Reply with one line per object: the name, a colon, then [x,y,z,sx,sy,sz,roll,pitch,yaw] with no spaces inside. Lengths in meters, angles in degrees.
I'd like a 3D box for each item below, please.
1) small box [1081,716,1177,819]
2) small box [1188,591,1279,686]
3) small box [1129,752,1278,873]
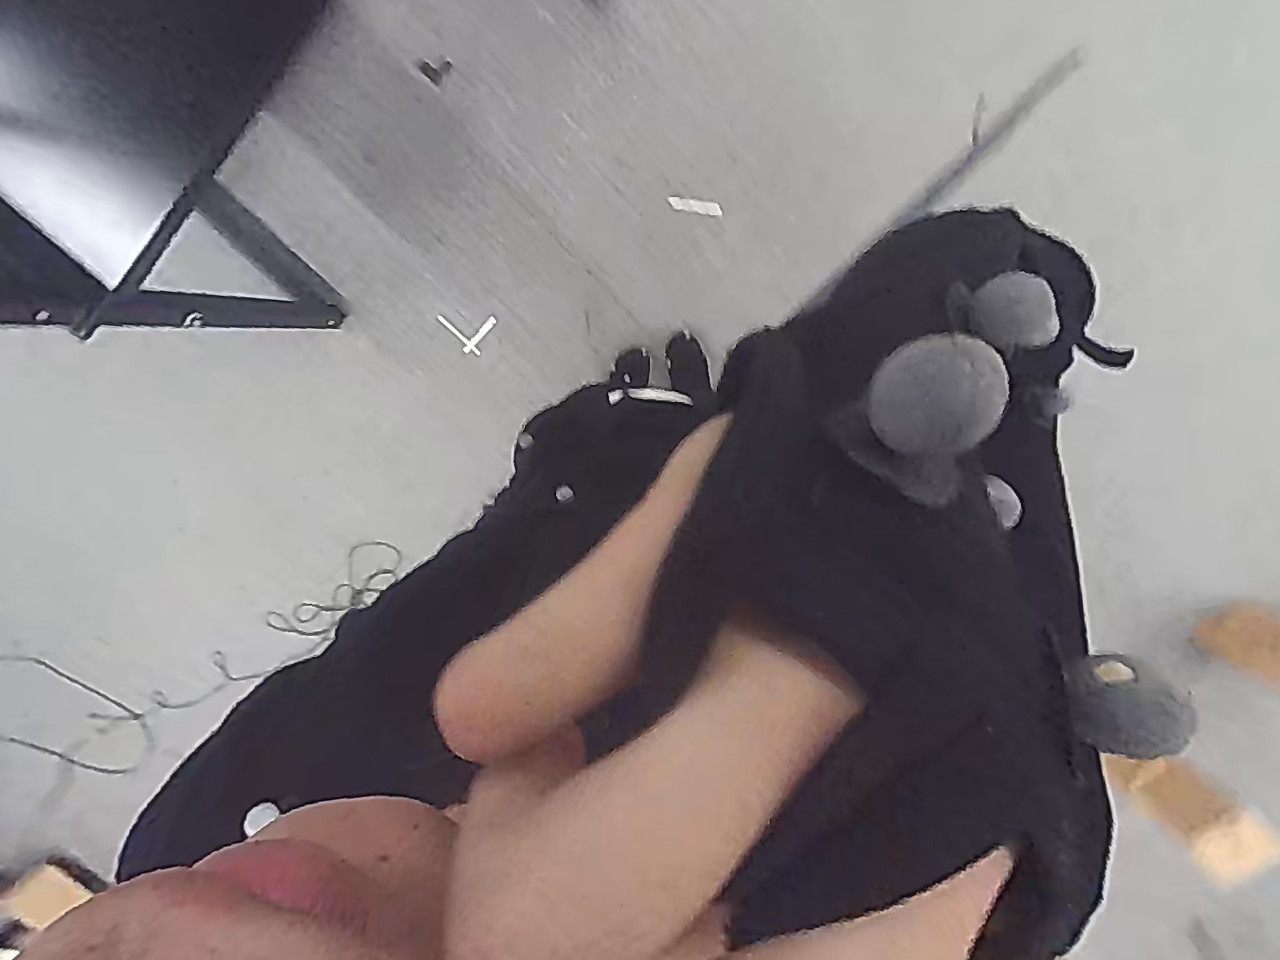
small box: [1.441,0.817,1.560,0.168,0.176,0.179,-43,100,13]
small box: [1.832,0.467,1.618,0.179,0.176,0.168,42,102,-9]
small box: [1.445,0.851,1.398,0.168,0.176,0.179,-43,100,12]
